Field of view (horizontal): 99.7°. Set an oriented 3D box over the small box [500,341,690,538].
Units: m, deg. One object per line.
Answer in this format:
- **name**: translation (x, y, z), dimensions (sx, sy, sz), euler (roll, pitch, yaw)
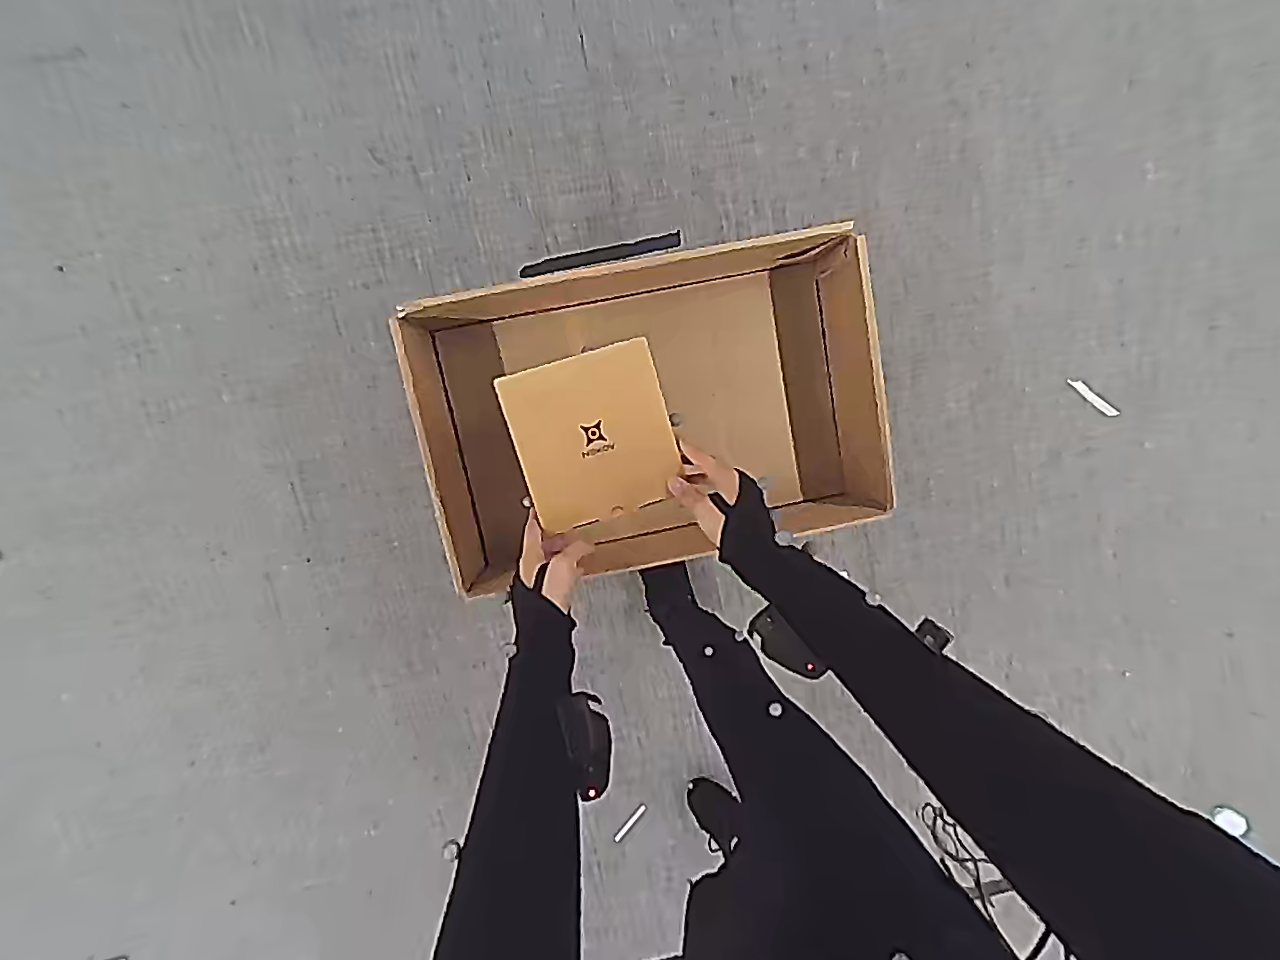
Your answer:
- **small box**: translation (-0.055, -0.049, 0.652), dimensions (0.168, 0.176, 0.179), euler (-17, 98, -4)
